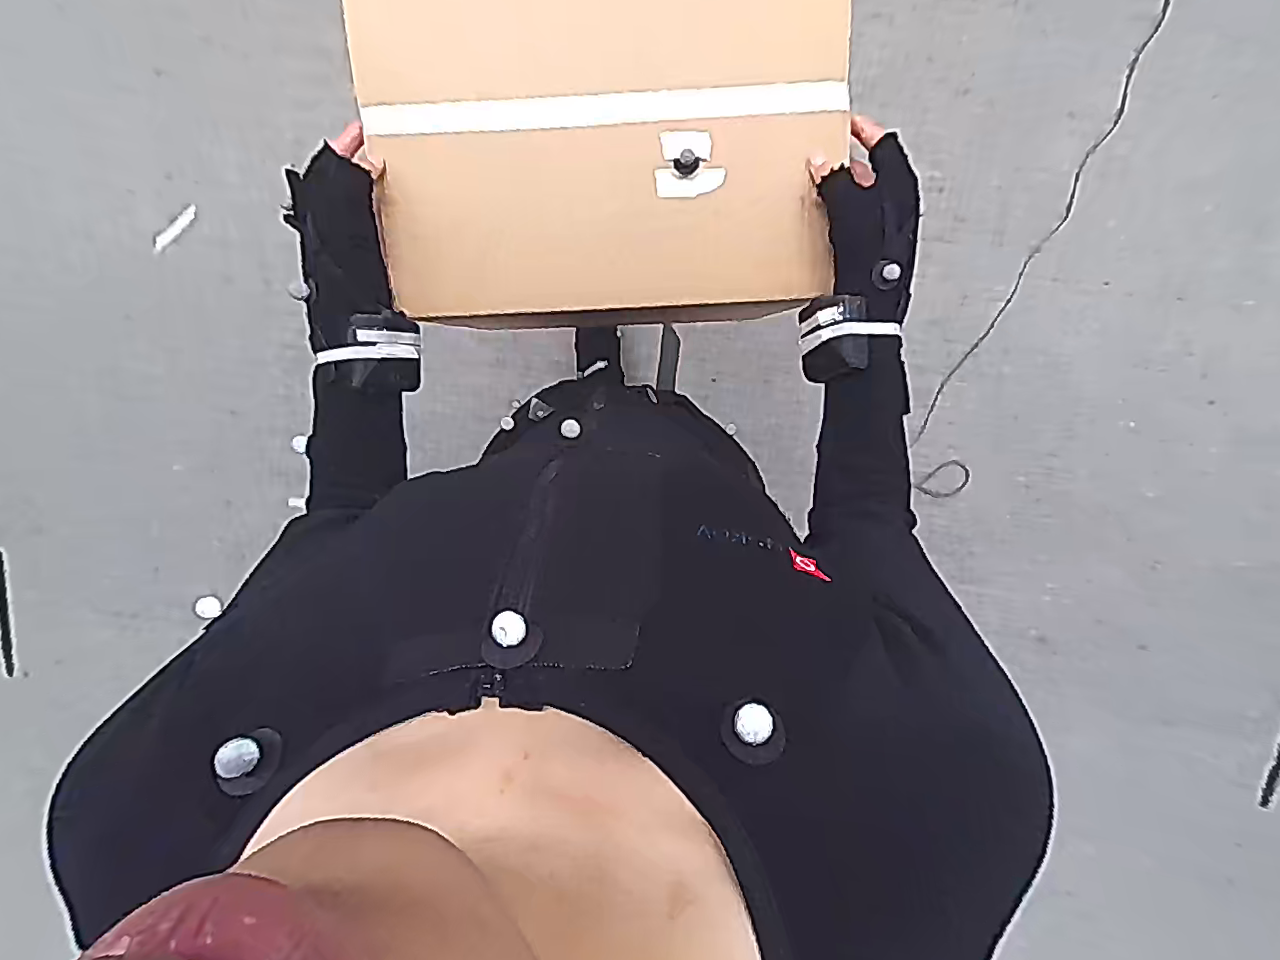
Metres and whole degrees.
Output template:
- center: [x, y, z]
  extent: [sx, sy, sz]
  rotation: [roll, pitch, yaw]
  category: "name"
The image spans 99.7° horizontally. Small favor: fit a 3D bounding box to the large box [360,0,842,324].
- center: [-0.031, -0.353, 0.606]
  extent: [0.408, 0.320, 0.320]
  rotation: [-2, 103, 0]
  category: "large box"
